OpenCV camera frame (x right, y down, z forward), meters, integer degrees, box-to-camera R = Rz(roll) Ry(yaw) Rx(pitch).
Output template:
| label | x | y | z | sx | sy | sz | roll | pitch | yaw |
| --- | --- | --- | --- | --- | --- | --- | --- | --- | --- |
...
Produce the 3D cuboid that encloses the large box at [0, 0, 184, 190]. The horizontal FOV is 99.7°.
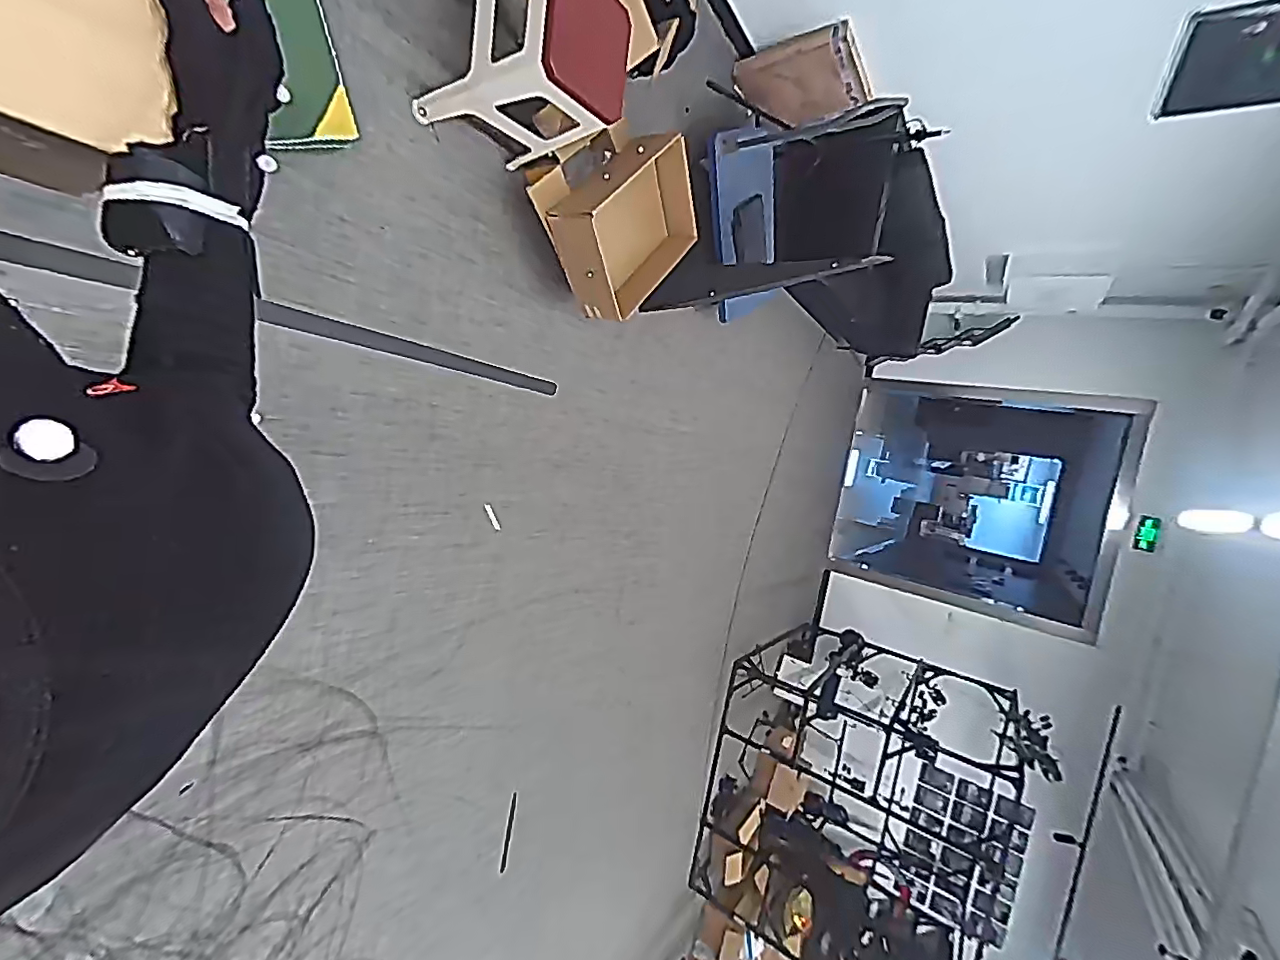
| label | x | y | z | sx | sy | sz | roll | pitch | yaw |
| --- | --- | --- | --- | --- | --- | --- | --- | --- | --- |
| large box | -0.565 | -0.419 | 0.315 | 0.408 | 0.320 | 0.320 | 1 | 104 | -56 |
